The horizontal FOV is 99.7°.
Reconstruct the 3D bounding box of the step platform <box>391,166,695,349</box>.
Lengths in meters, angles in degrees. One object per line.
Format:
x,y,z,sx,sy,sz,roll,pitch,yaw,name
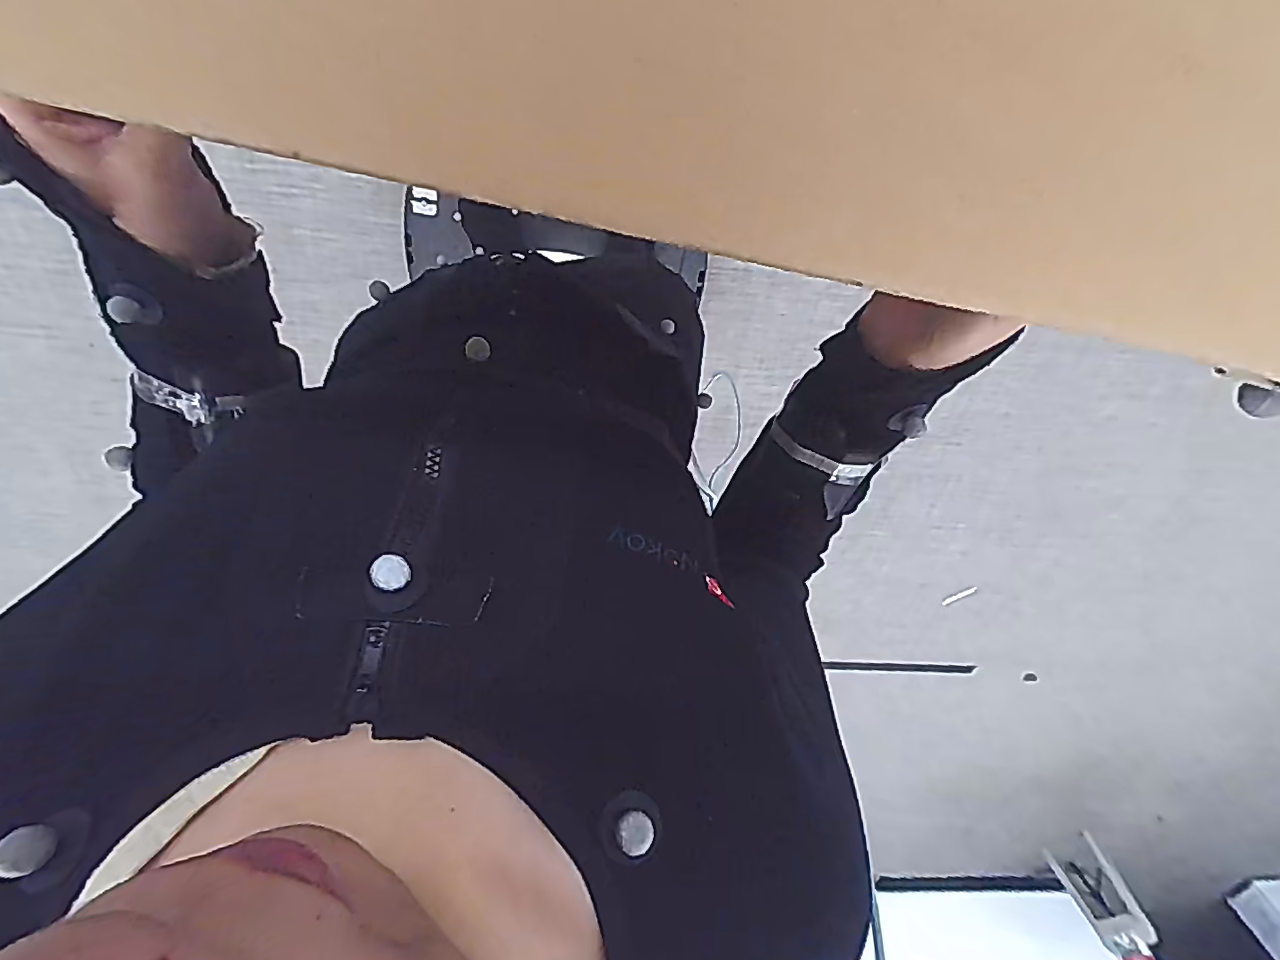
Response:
-0.217,-0.520,1.280,0.684,0.204,0.286,9,121,-7,step platform
